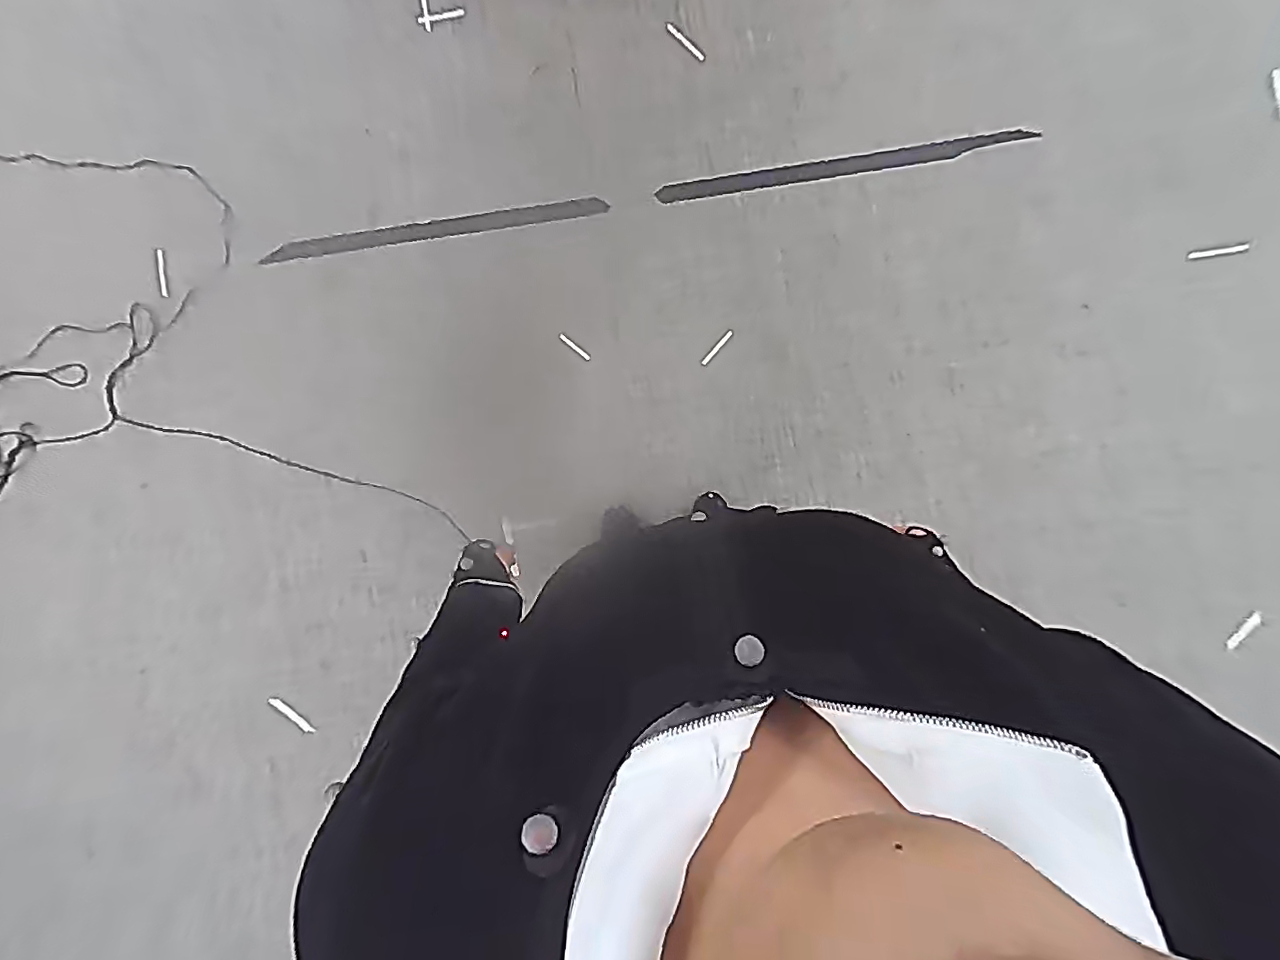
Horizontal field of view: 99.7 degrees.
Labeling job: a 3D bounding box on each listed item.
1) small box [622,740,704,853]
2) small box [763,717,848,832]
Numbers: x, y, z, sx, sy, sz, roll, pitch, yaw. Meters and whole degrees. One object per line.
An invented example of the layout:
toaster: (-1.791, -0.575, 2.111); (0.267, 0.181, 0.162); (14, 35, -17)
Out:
small box: (0.056, 0.754, 1.313); (0.168, 0.176, 0.179); (-11, 89, 3)
small box: (0.400, 0.699, 1.297); (0.168, 0.176, 0.179); (-9, 90, 3)
